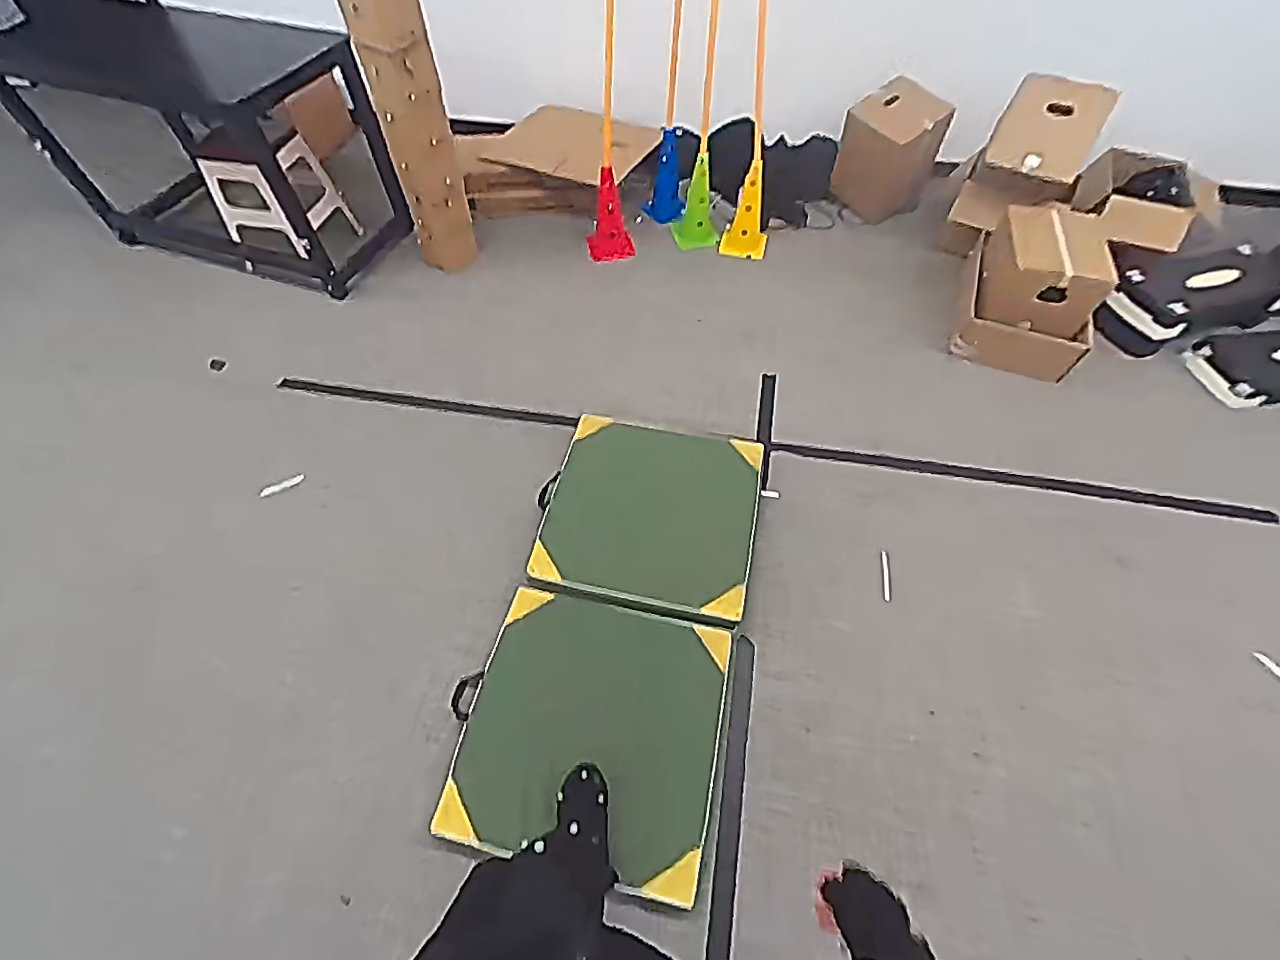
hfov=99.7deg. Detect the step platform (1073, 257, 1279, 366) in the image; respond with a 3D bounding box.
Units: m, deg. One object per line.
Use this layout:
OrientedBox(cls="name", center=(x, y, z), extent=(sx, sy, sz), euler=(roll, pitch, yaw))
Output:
OrientedBox(cls="step platform", center=(2.125, -0.674, 2.139), extent=(0.684, 0.204, 0.286), euler=(-15, 58, -10))
